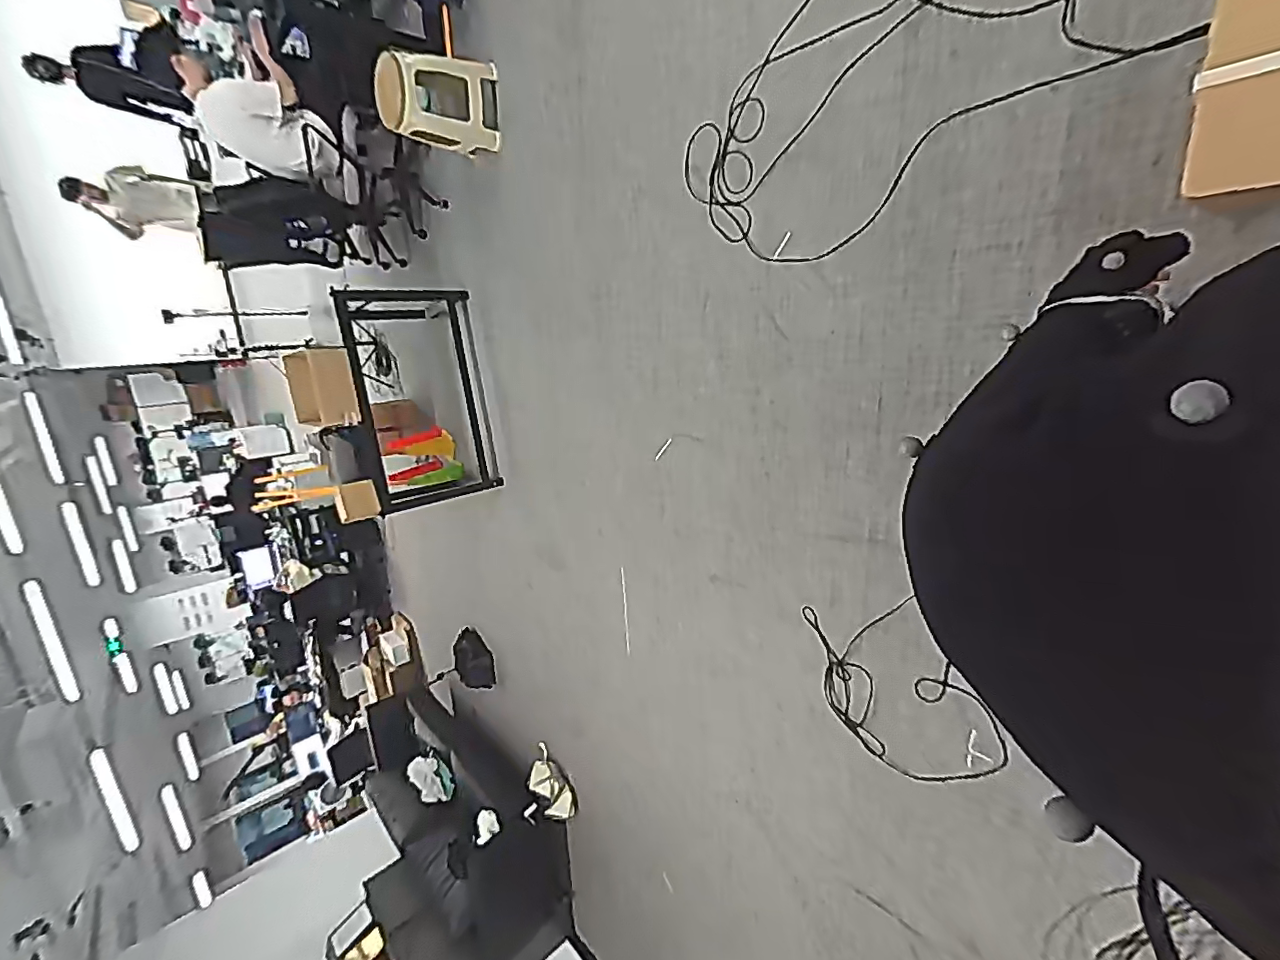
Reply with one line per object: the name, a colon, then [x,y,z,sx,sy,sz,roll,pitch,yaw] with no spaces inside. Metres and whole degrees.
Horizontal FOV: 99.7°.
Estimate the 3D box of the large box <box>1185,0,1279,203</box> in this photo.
large box: [1.047,-0.592,0.724,0.408,0.320,0.320,14,115,46]
